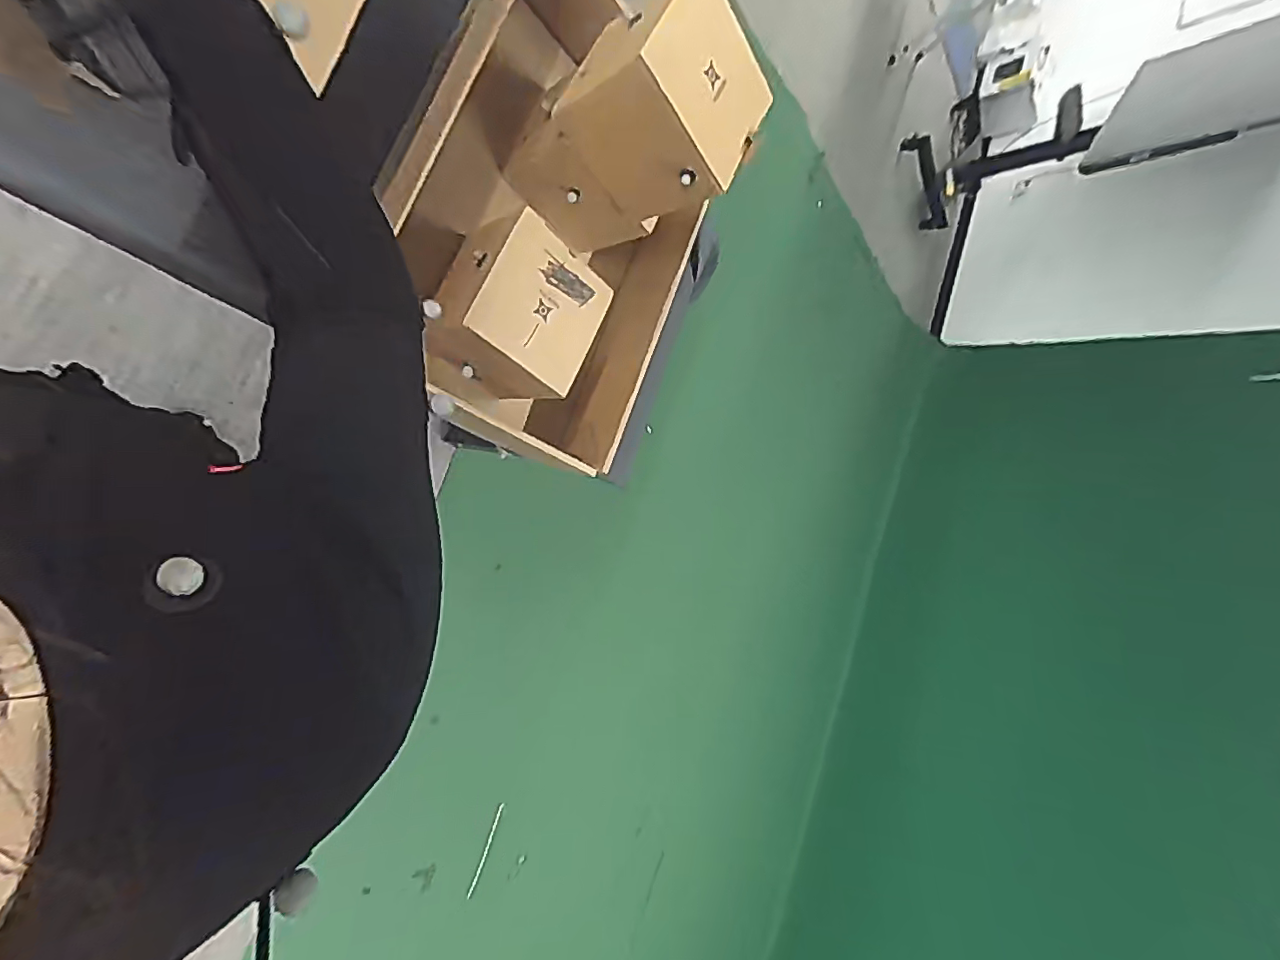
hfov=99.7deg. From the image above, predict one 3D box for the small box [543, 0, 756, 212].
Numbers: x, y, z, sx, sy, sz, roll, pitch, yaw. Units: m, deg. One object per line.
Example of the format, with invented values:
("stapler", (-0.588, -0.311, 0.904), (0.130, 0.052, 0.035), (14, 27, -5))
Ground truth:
("small box", (0.010, -0.472, 0.678), (0.179, 0.176, 0.168), (38, 71, -42))
